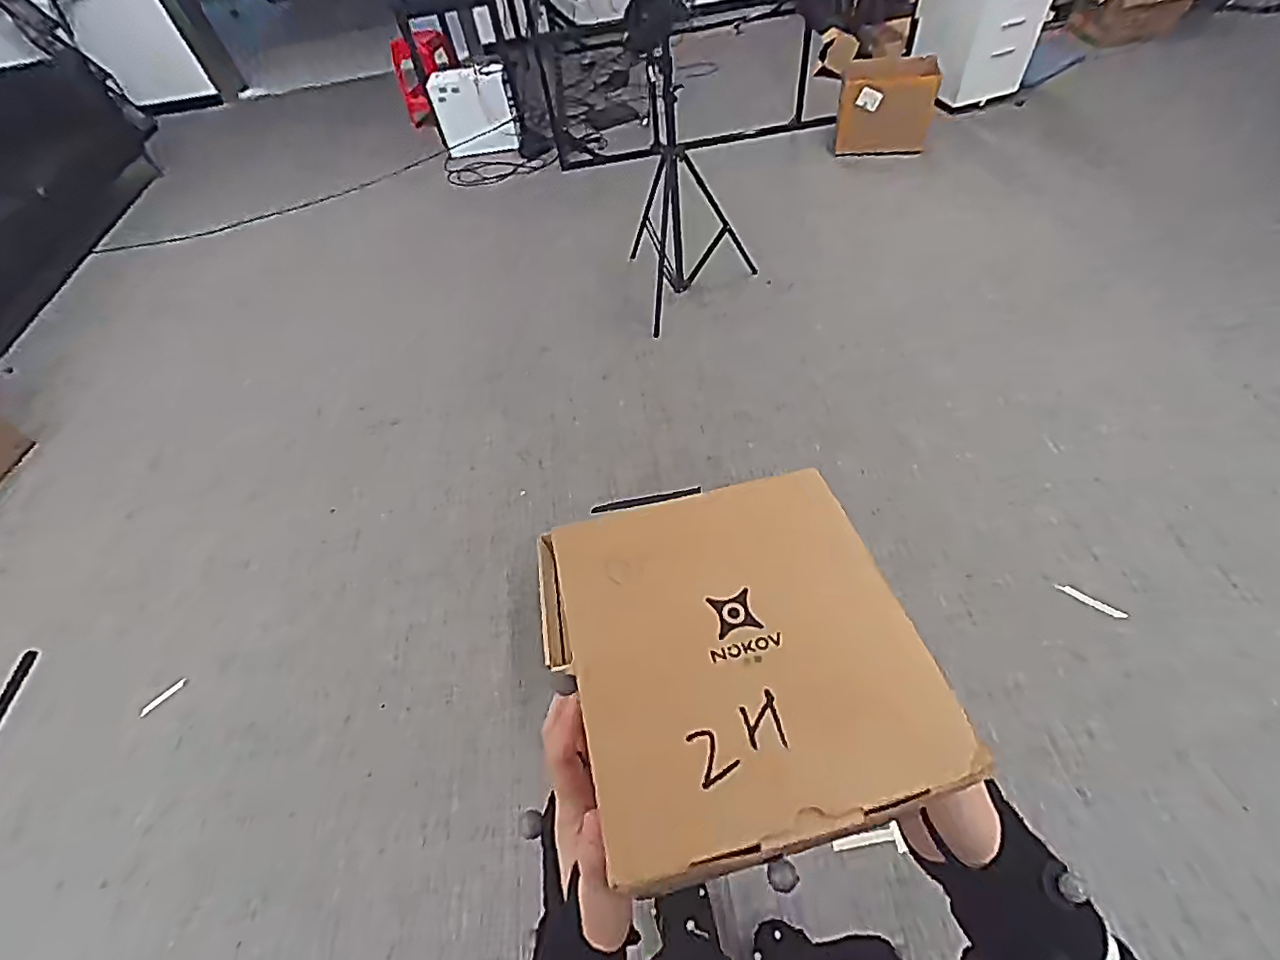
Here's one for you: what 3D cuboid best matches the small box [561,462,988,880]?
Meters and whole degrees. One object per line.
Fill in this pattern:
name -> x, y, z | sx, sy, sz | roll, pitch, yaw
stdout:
small box -> 0.053, 0.119, 0.333 | 0.168, 0.176, 0.179 | -12, 52, -6
